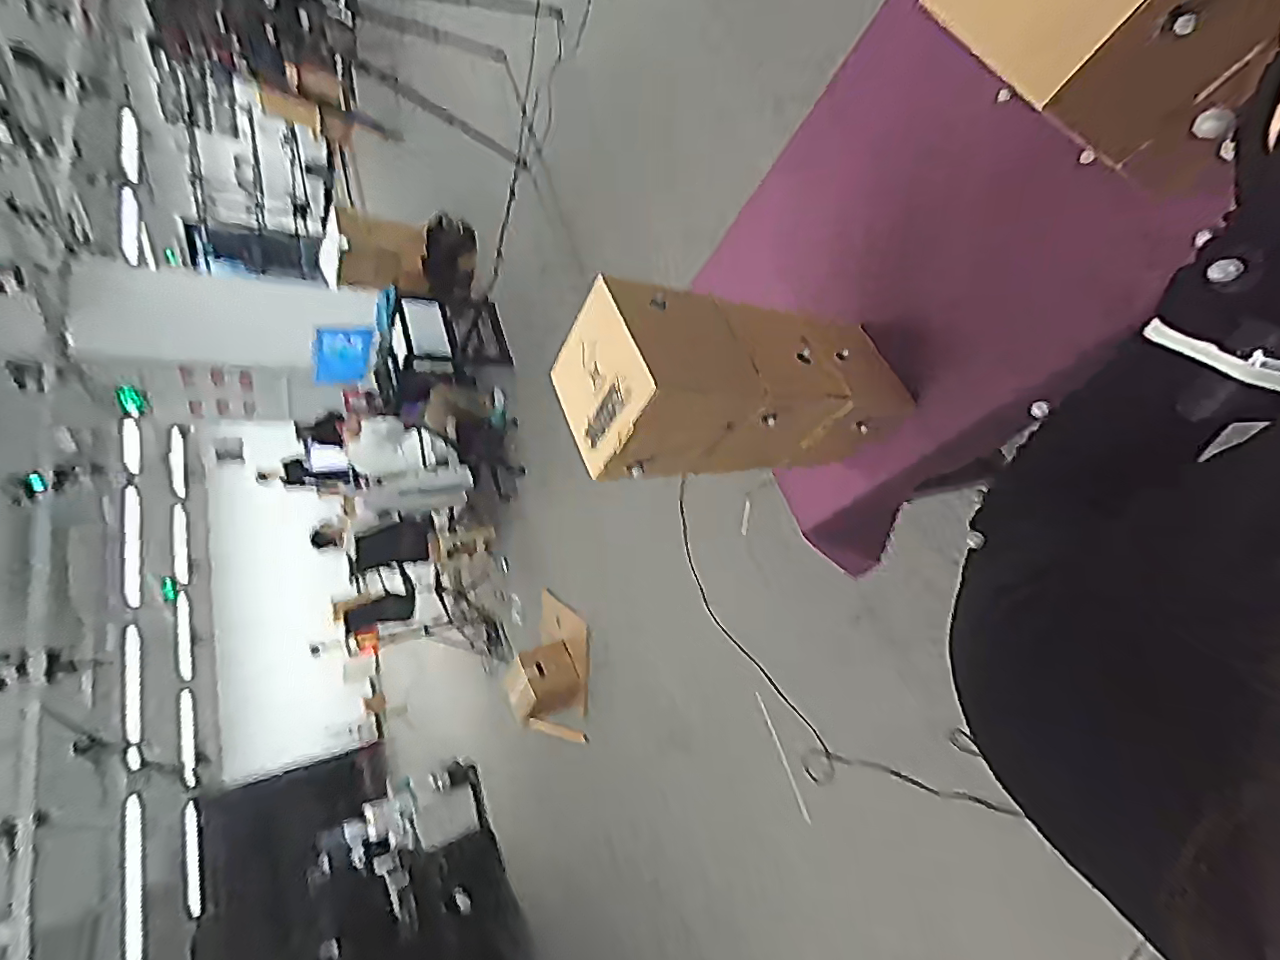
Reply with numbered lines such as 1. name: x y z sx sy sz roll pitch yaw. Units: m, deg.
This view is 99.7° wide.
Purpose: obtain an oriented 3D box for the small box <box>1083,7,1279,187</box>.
1. small box: 0.502 -0.412 0.517 0.168 0.176 0.179 -47 58 46

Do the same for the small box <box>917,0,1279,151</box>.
1. small box: 0.369 -0.397 0.419 0.179 0.176 0.168 -48 57 46

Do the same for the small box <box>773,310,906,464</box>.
1. small box: 0.282 -0.146 0.865 0.168 0.176 0.179 -49 56 45

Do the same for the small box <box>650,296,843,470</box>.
1. small box: 0.149 -0.131 0.774 0.179 0.176 0.168 -51 55 43
